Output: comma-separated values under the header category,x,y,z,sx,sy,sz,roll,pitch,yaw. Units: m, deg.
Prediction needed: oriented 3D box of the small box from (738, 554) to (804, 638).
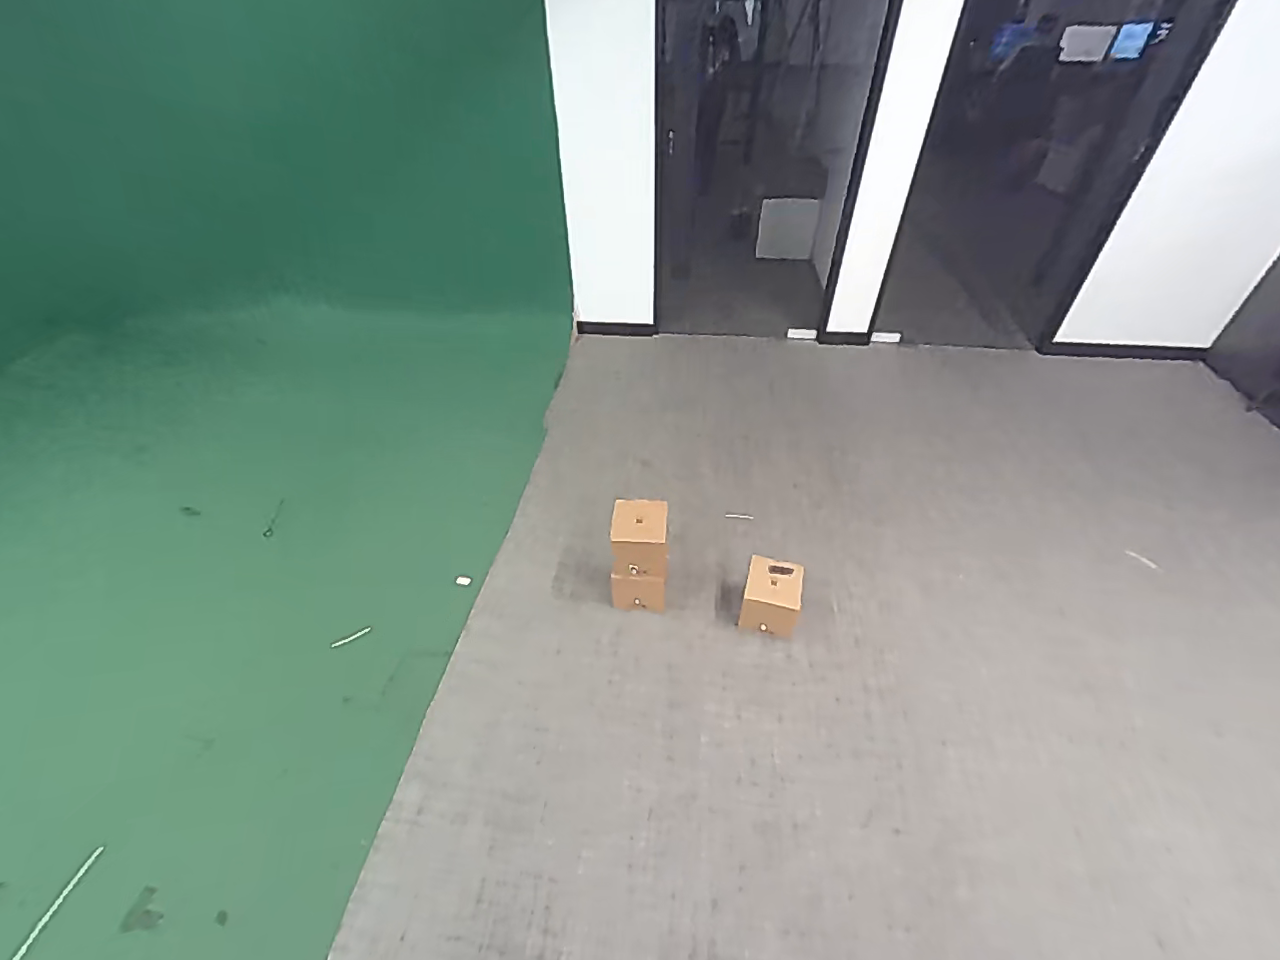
category,x,y,z,sx,sy,sz,roll,pitch,yaw
small box,0.410,0.365,1.705,0.168,0.176,0.179,11,44,13

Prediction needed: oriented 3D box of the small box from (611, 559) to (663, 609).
category,x,y,z,sx,sy,sz,roll,pitch,yaw
small box,-0.006,0.299,1.781,0.168,0.176,0.179,2,42,2

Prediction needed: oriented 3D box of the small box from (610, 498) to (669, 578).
category,x,y,z,sx,sy,sz,roll,pitch,yaw
small box,0.002,0.178,1.677,0.168,0.176,0.179,2,40,5
